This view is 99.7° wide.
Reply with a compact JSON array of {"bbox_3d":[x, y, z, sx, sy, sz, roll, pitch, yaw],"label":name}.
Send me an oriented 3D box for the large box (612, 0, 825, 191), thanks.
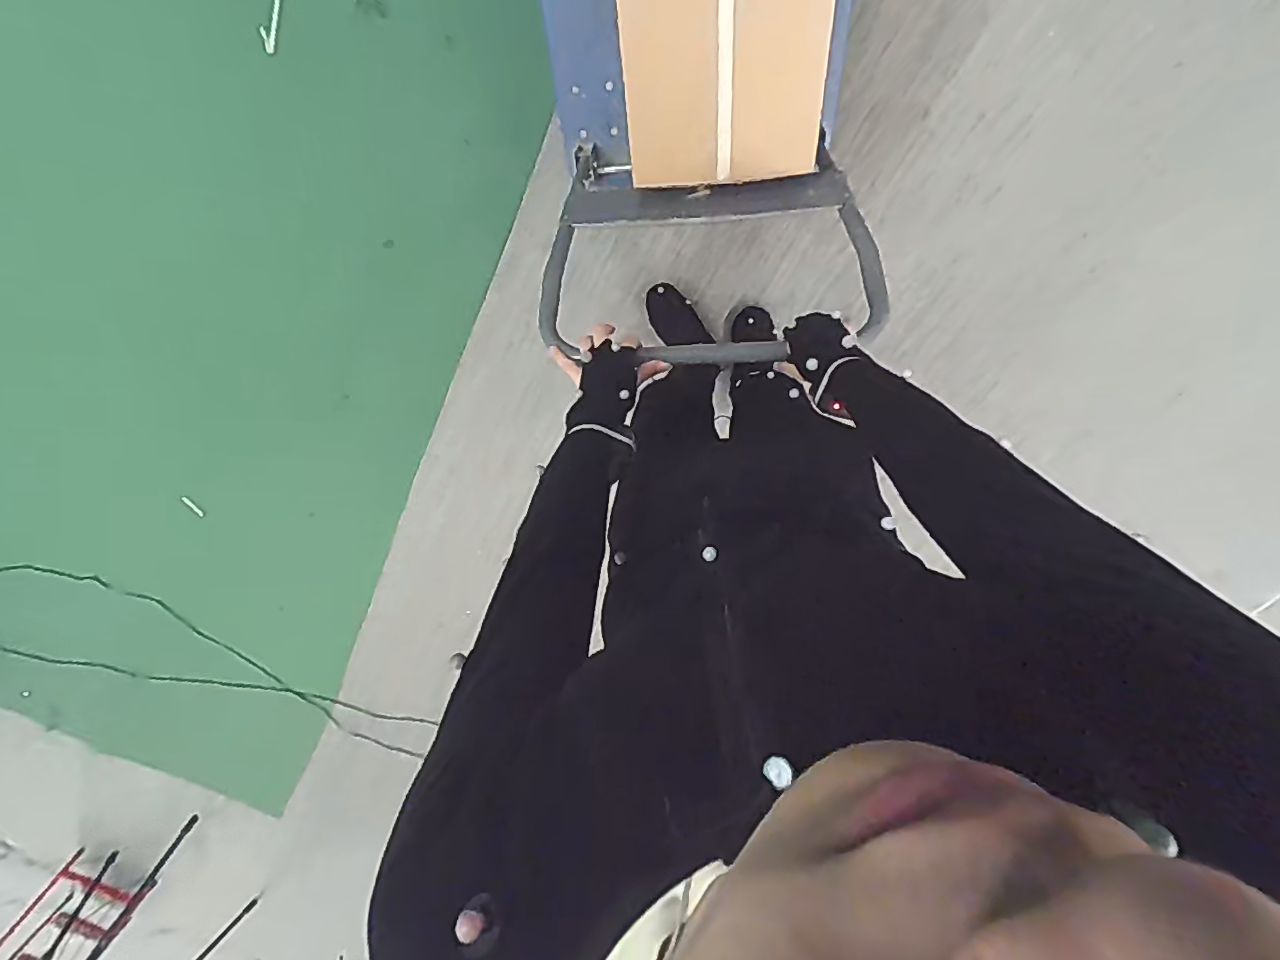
[{"bbox_3d":[0.130,-0.769,0.928,0.320,0.320,0.408,-1,135,6],"label":"large box"}]
